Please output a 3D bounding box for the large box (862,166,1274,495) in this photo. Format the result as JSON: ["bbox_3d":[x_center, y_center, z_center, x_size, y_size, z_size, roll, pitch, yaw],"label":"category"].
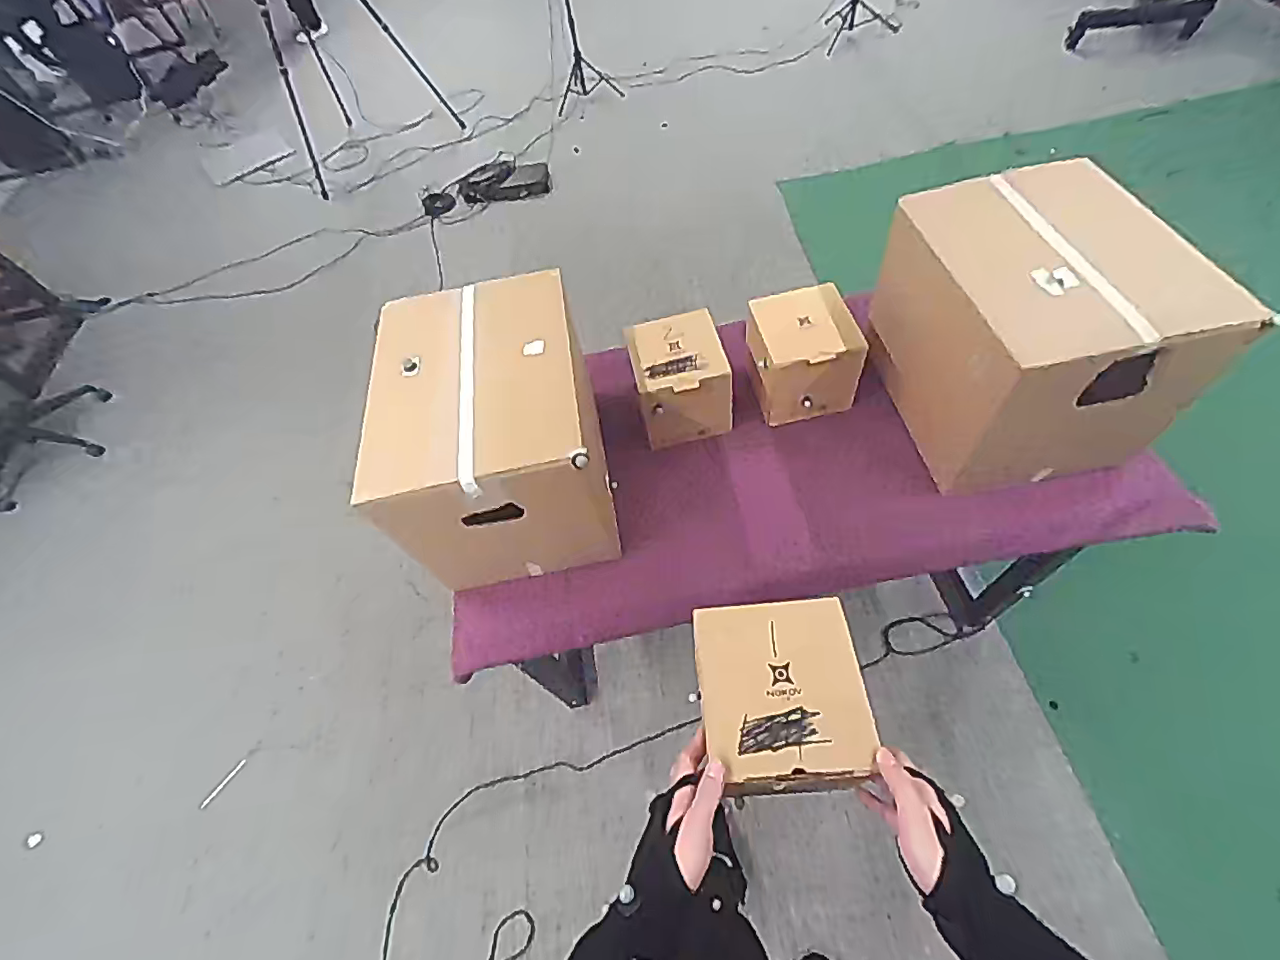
[{"bbox_3d":[0.619,-0.241,0.898,0.320,0.320,0.408,-12,57,3],"label":"large box"}]

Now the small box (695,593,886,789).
[{"bbox_3d":[0.156,0.249,0.621,0.168,0.176,0.179,-6,54,3],"label":"small box"}]
